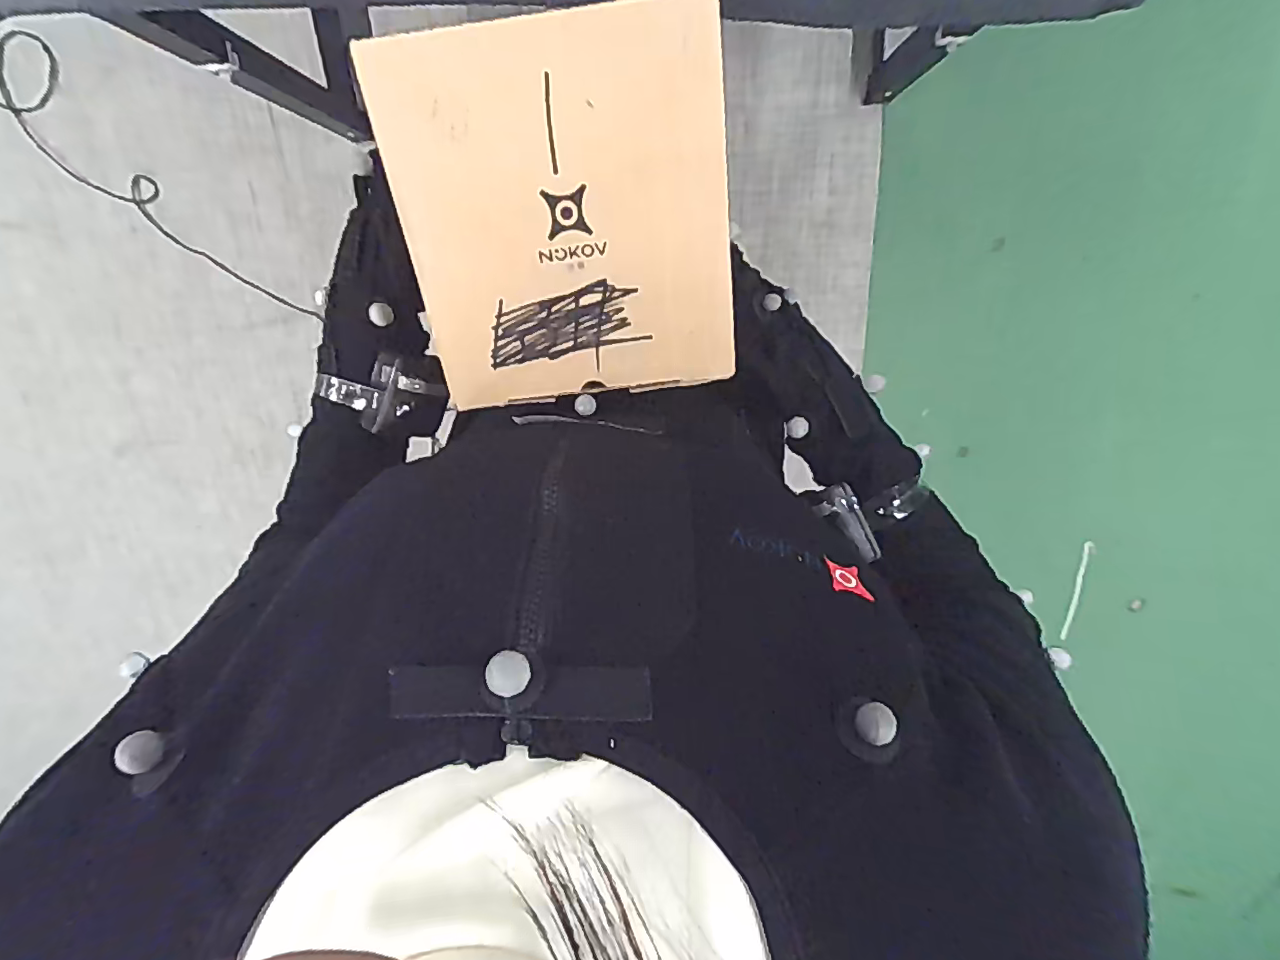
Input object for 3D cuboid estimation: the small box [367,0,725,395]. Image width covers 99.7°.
[{"bbox_3d":[-0.037,-0.170,0.353,0.168,0.176,0.179,-5,117,2],"label":"small box"}]
